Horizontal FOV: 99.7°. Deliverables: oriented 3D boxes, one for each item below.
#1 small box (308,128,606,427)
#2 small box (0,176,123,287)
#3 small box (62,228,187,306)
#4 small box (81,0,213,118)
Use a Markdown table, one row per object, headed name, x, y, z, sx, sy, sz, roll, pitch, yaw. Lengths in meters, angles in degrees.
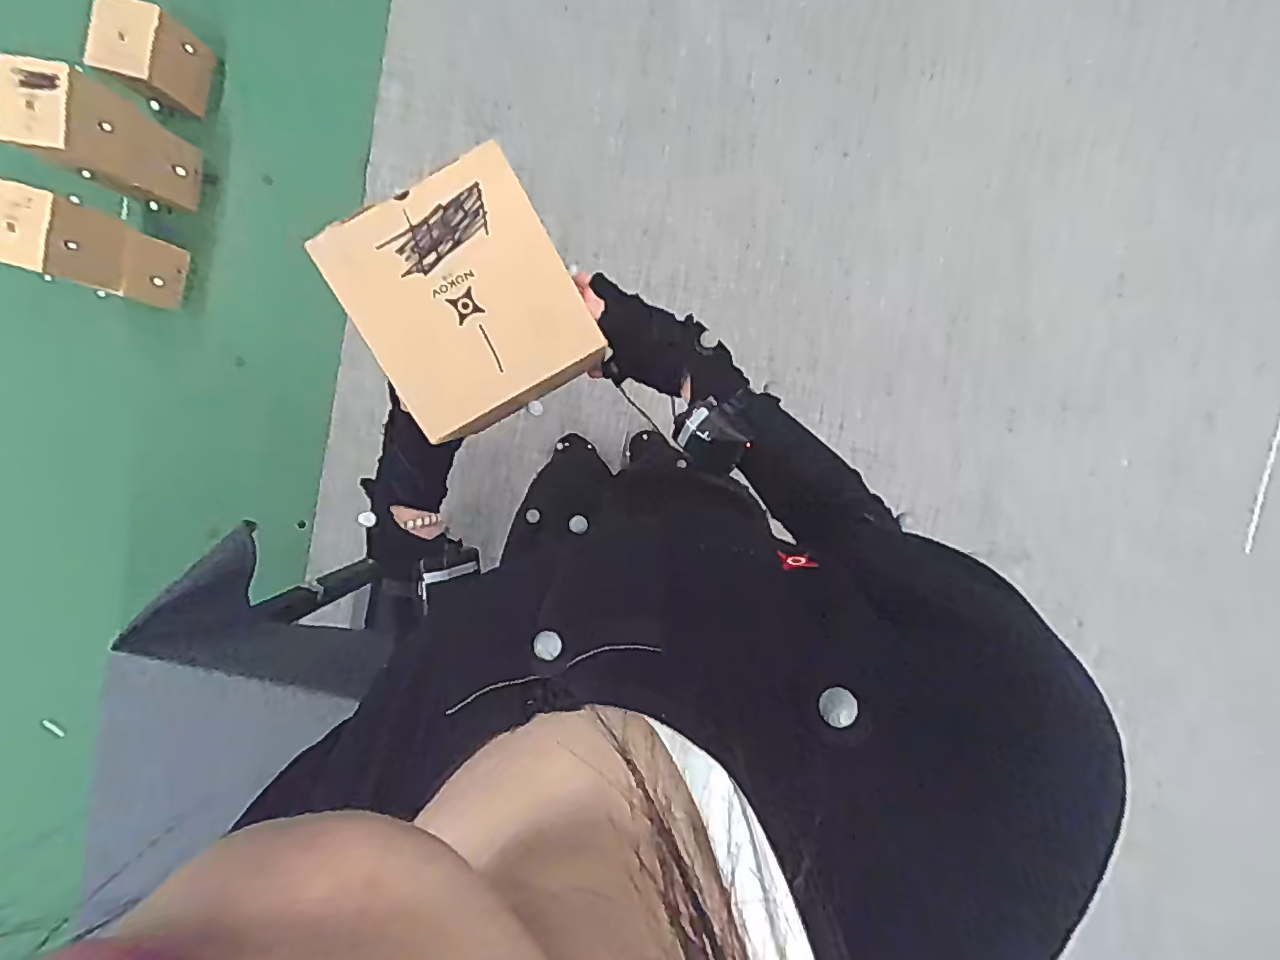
| name | x | y | z | sx | sy | sz | roll | pitch | yaw |
| --- | --- | --- | --- | --- | --- | --- | --- | --- | --- |
| small box | -0.145 | -0.161 | 0.493 | 0.168 | 0.176 | 0.179 | -29 | 99 | -1 |
| small box | -1.355 | -0.565 | 1.244 | 0.168 | 0.176 | 0.179 | 16 | 95 | 1 |
| small box | -1.342 | -0.567 | 1.408 | 0.179 | 0.176 | 0.168 | 17 | 95 | 1 |
| small box | -1.235 | -1.071 | 1.367 | 0.168 | 0.176 | 0.179 | 16 | 95 | 1 |
